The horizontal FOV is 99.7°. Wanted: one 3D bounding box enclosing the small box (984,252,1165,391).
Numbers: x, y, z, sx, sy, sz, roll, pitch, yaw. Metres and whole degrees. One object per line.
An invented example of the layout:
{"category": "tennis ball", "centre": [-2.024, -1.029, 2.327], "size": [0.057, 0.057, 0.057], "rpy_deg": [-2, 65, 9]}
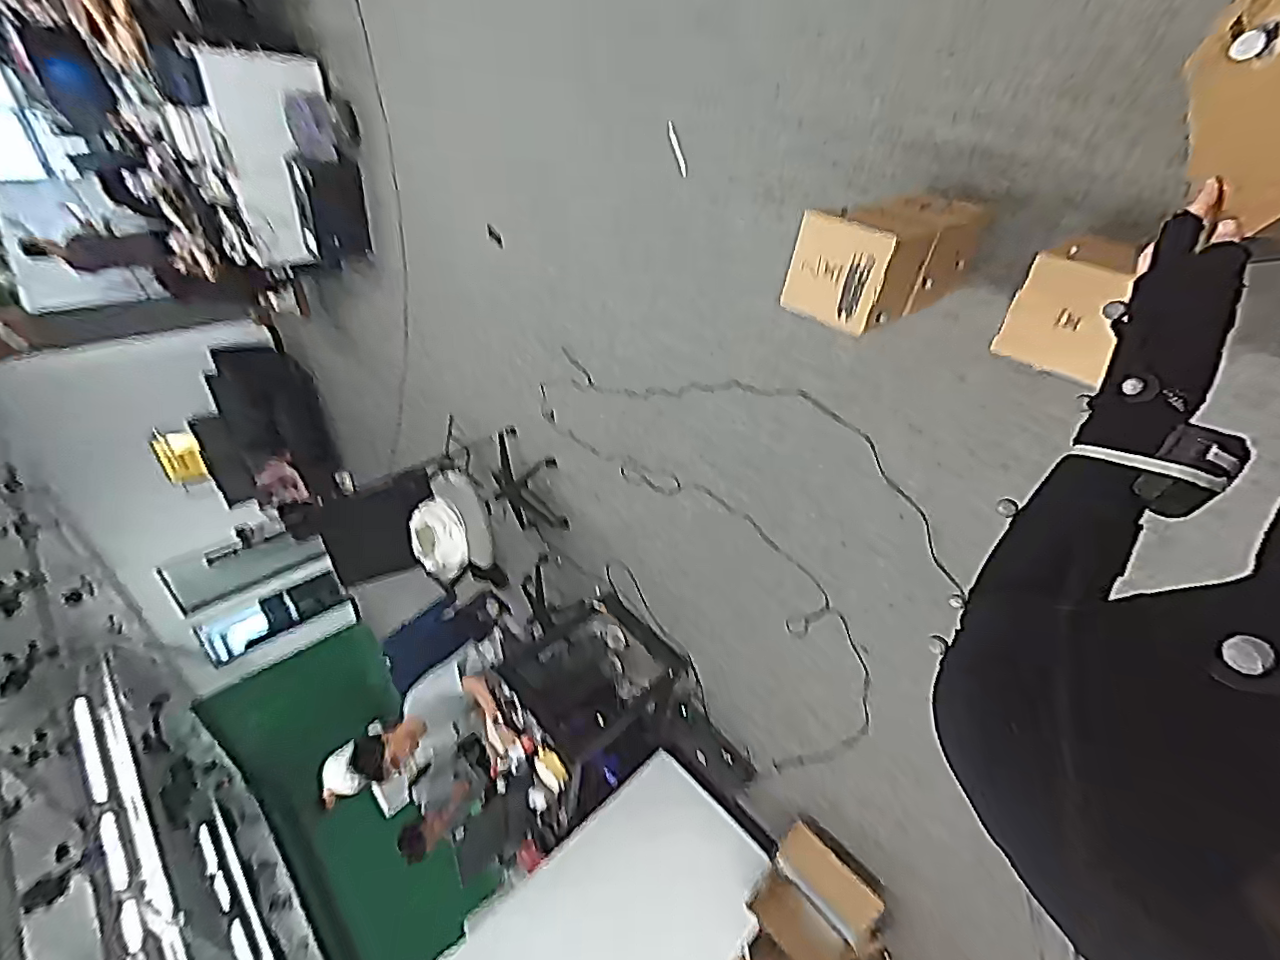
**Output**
{"category": "small box", "centre": [0.740, -0.279, 0.923], "size": [0.179, 0.176, 0.168], "rpy_deg": [35, 135, 31]}

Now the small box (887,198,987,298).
{"category": "small box", "centre": [0.625, -0.505, 1.188], "size": [0.168, 0.176, 0.179], "rpy_deg": [35, 134, 31]}

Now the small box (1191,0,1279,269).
{"category": "small box", "centre": [0.483, -0.246, 0.317], "size": [0.179, 0.168, 0.176], "rpy_deg": [0, 91, 20]}

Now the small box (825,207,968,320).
{"category": "small box", "centre": [0.512, -0.441, 1.086], "size": [0.179, 0.176, 0.168], "rpy_deg": [36, 135, 32]}

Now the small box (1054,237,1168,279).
{"category": "small box", "centre": [0.849, -0.342, 1.026], "size": [0.168, 0.176, 0.179], "rpy_deg": [38, 135, 28]}
